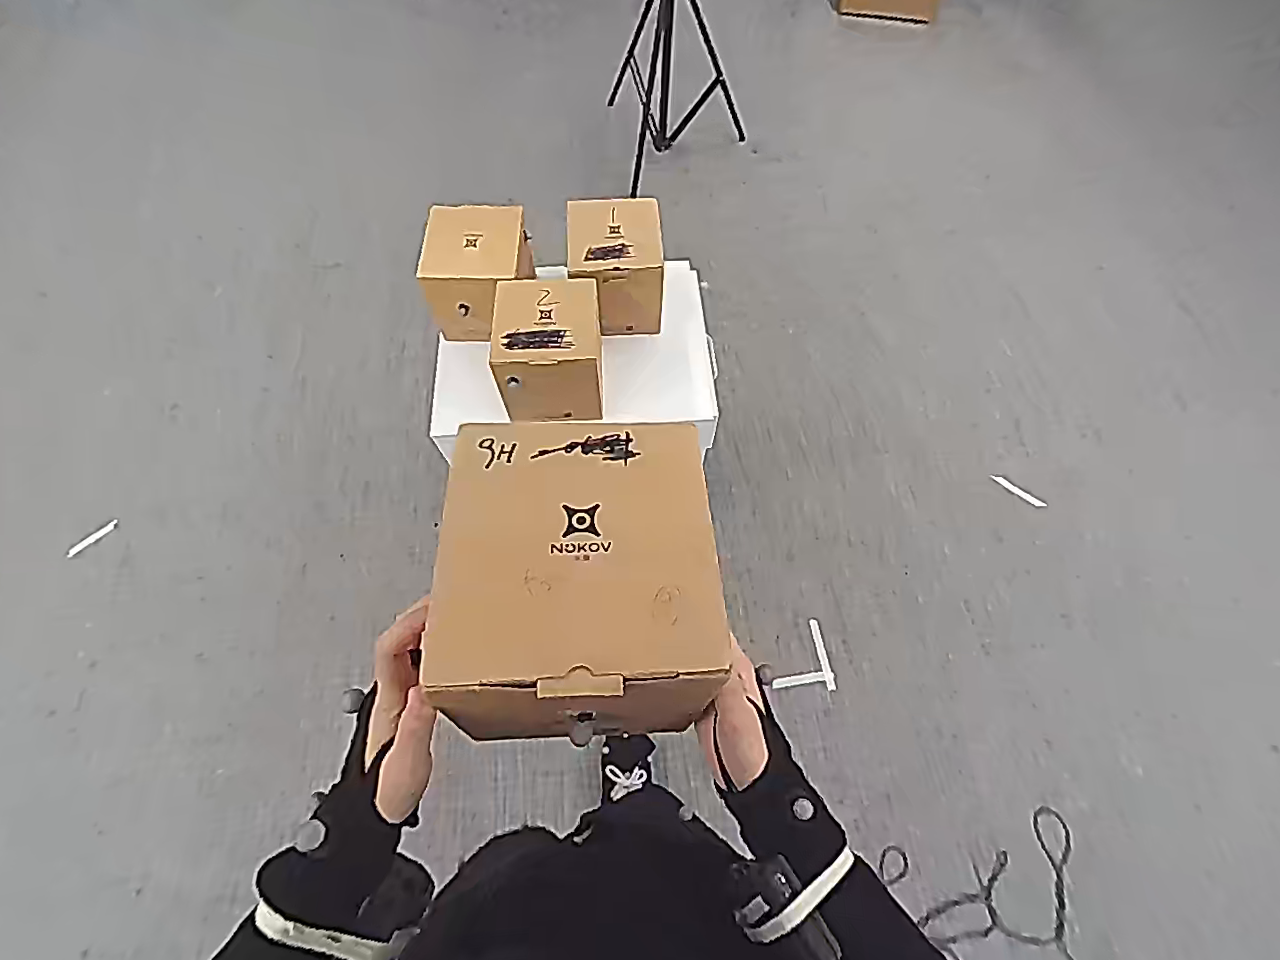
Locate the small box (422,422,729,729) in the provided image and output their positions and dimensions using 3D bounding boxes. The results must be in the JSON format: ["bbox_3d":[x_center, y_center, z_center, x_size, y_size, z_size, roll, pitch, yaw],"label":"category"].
[{"bbox_3d":[-0.042,0.077,0.395,0.168,0.176,0.179,-1,57,-6],"label":"small box"}]

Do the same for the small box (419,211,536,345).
[{"bbox_3d":[-0.290,-0.369,1.006,0.168,0.176,0.179,-1,64,-2],"label":"small box"}]
